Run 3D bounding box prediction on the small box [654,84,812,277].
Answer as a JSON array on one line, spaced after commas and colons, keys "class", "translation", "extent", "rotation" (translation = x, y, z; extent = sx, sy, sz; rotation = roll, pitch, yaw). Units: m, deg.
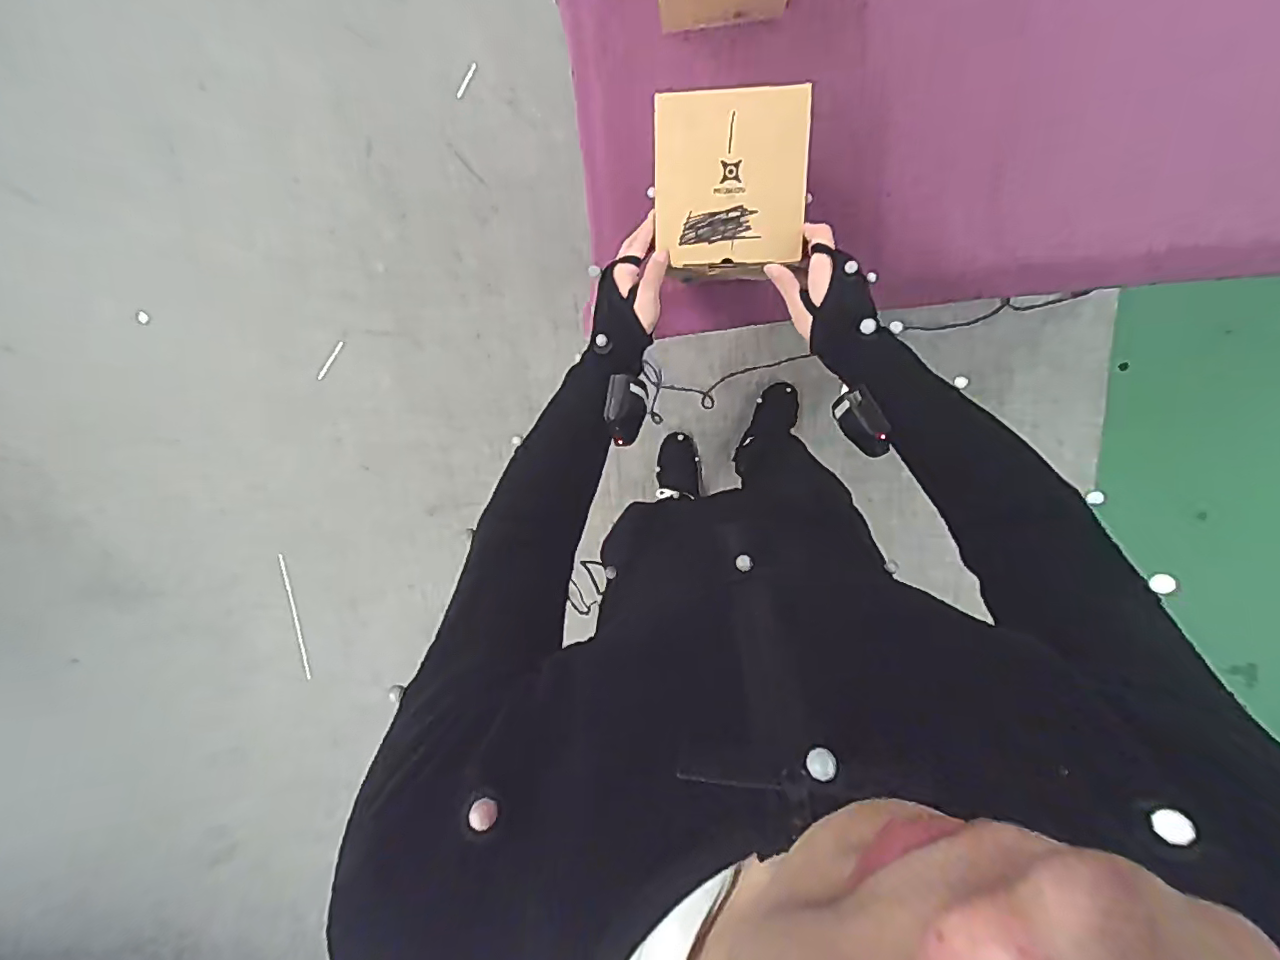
[{"class": "small box", "translation": [0.107, -0.347, 0.664], "extent": [0.168, 0.176, 0.179], "rotation": [1, 104, 6]}]
